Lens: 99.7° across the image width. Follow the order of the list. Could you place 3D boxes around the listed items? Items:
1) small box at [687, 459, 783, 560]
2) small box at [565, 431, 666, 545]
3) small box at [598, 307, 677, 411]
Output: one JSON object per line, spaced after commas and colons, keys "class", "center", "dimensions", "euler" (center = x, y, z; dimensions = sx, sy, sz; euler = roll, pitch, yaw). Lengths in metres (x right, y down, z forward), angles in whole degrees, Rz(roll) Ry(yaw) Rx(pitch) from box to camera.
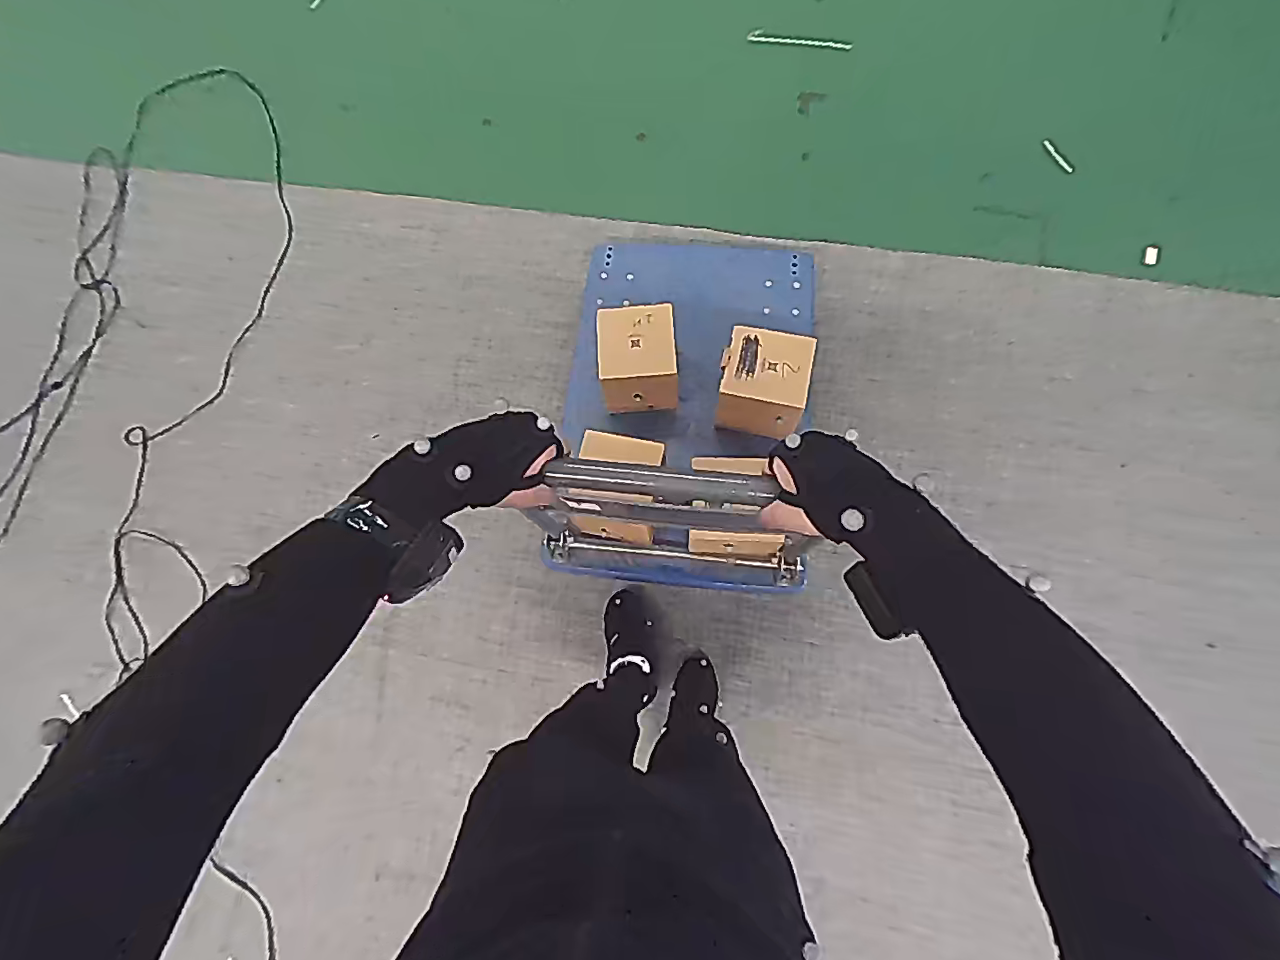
{"class": "small box", "center": [0.186, 0.064, 1.093], "dimensions": [0.179, 0.176, 0.168], "euler": [2, 72, 4]}
{"class": "small box", "center": [-0.044, 0.022, 1.126], "dimensions": [0.168, 0.176, 0.179], "euler": [12, 73, 7]}
{"class": "small box", "center": [-0.002, -0.264, 1.220], "dimensions": [0.168, 0.176, 0.179], "euler": [-3, 71, 2]}
